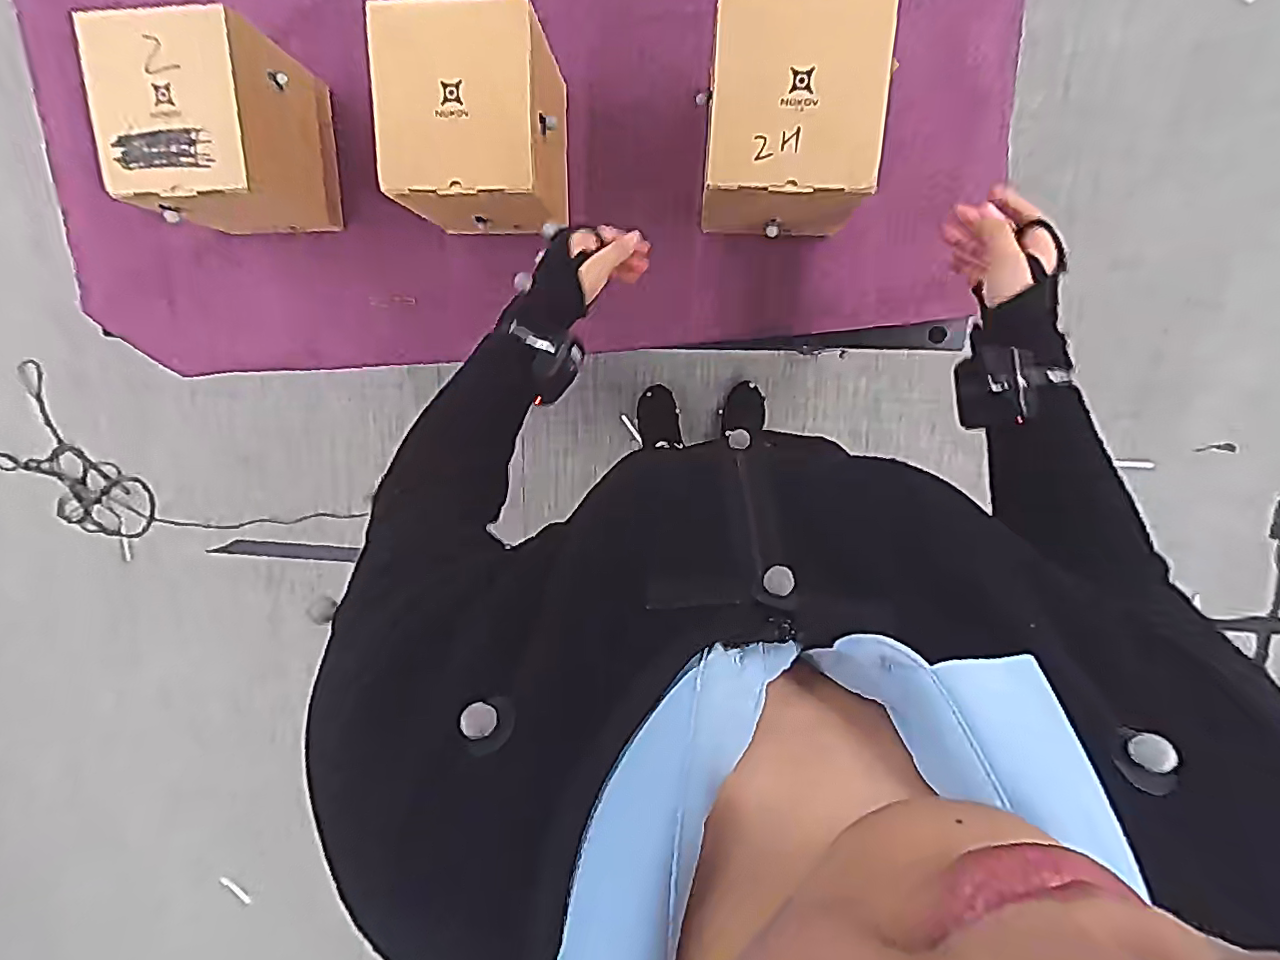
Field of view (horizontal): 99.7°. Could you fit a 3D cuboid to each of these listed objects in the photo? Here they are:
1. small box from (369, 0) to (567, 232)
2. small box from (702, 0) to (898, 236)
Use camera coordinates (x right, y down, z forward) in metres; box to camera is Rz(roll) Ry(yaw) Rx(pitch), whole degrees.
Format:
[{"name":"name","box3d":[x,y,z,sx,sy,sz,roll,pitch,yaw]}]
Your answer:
[{"name":"small box","box3d":[-0.181,-0.399,0.619,0.168,0.176,0.179,2,102,4]},{"name":"small box","box3d":[0.158,-0.384,0.591,0.168,0.176,0.179,4,101,5]}]
